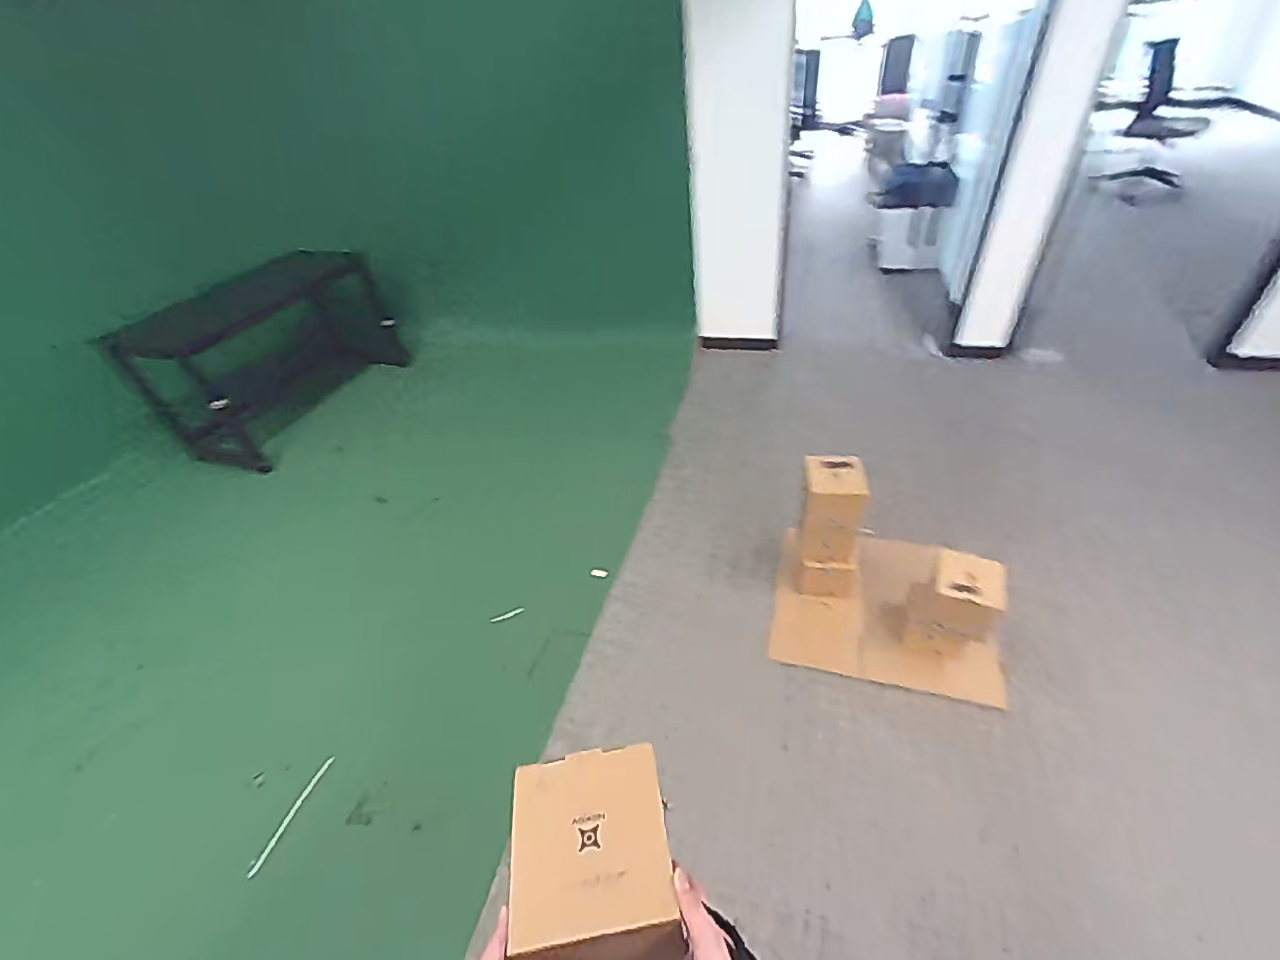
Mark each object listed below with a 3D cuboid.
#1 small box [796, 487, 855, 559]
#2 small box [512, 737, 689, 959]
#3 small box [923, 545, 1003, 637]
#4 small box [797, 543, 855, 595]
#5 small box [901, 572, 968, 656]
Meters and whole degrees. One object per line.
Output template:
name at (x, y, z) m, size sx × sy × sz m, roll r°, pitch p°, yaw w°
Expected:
small box at (0.620, 0.146, 1.822) m, size 0.168 × 0.176 × 0.179 m, roll 3°, pitch 41°, yaw 11°
small box at (-0.040, 0.428, 0.615) m, size 0.168 × 0.176 × 0.179 m, roll -8°, pitch 36°, yaw -2°
small box at (0.932, 0.323, 1.567) m, size 0.168 × 0.176 × 0.179 m, roll 14°, pitch 44°, yaw 23°
small box at (0.652, 0.281, 1.914) m, size 0.168 × 0.176 × 0.179 m, roll 2°, pitch 41°, yaw 11°
small box at (0.930, 0.425, 1.703) m, size 0.168 × 0.176 × 0.179 m, roll 10°, pitch 43°, yaw 20°
